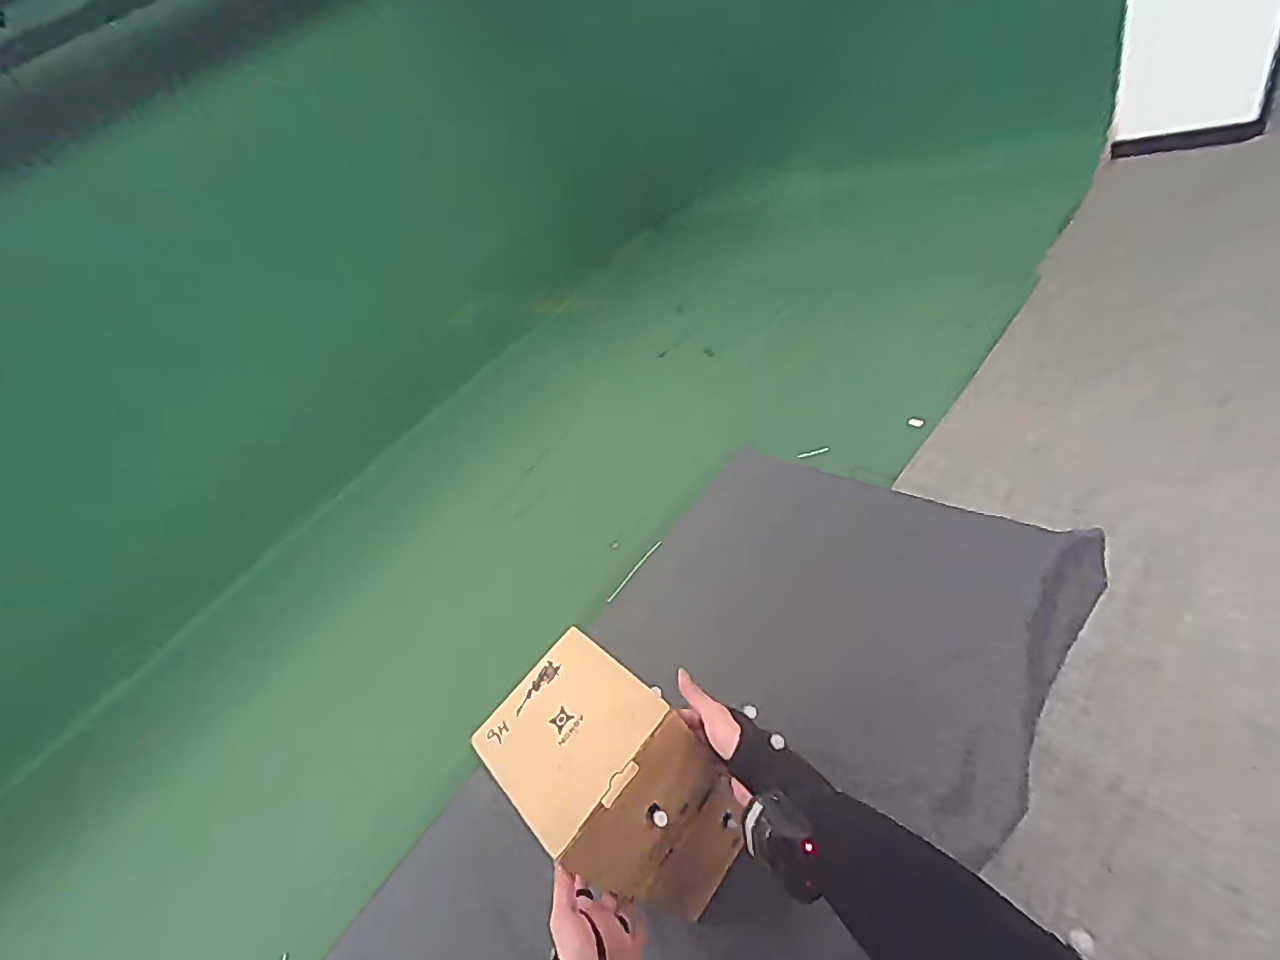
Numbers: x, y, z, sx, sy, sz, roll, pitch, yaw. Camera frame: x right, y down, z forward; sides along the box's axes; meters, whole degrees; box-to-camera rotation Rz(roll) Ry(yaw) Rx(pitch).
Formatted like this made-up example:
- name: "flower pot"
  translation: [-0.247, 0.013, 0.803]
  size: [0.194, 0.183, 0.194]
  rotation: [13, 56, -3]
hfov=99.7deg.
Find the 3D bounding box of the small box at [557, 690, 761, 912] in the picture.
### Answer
- name: "small box"
  translation: [0.032, 0.419, 0.707]
  size: [0.179, 0.176, 0.168]
  rotation: [20, 60, 46]
